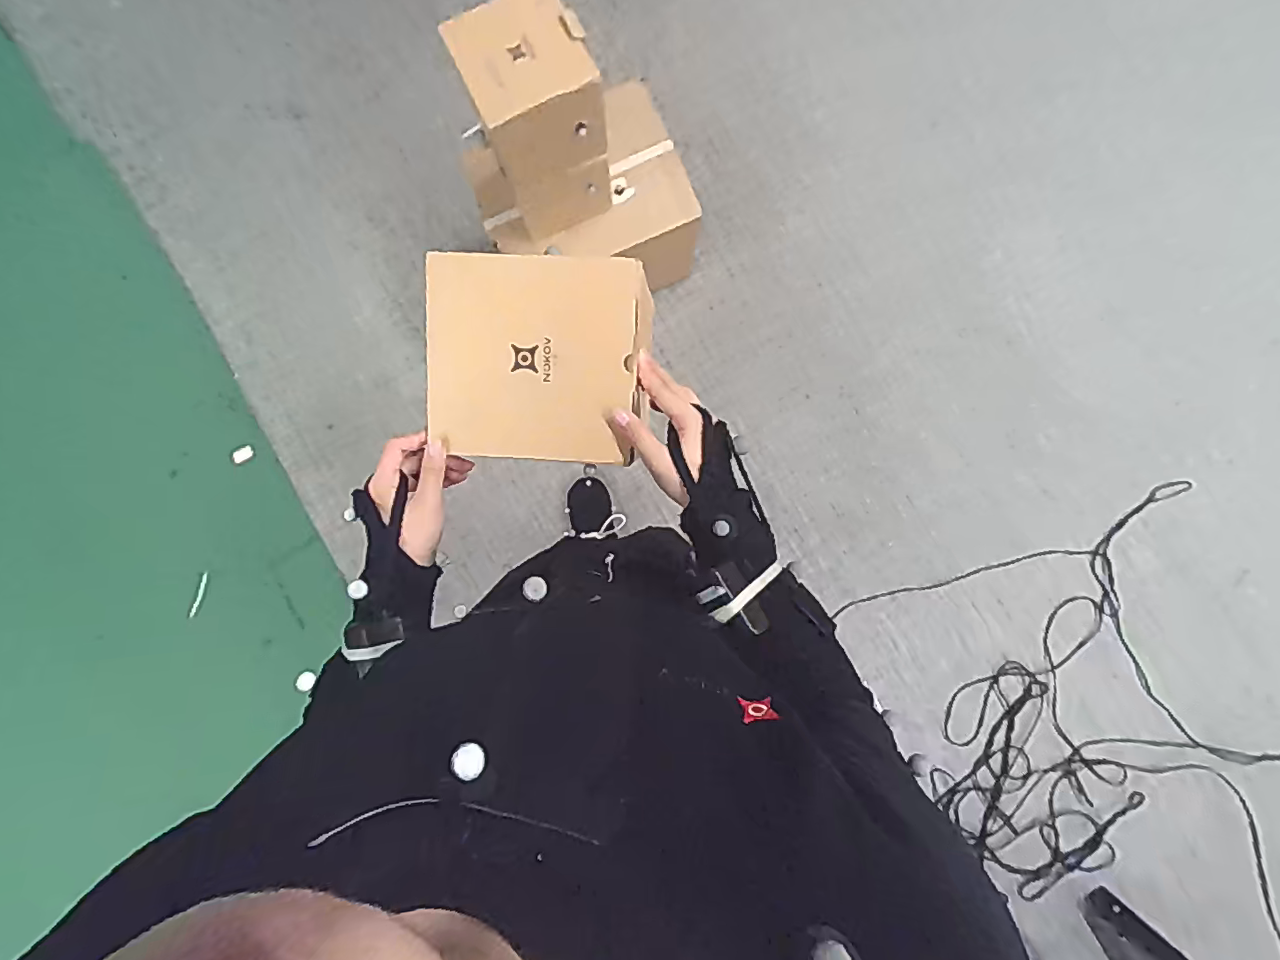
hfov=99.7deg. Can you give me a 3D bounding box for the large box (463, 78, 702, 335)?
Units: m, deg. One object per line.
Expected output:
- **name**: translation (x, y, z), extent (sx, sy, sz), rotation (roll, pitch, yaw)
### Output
- **large box**: translation (-0.117, -0.584, 1.228), extent (0.408, 0.320, 0.320), rotation (-24, 90, -1)

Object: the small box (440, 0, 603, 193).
- **small box**: translation (-0.165, -0.584, 0.821), extent (0.179, 0.176, 0.168), rotation (-27, 88, 0)
